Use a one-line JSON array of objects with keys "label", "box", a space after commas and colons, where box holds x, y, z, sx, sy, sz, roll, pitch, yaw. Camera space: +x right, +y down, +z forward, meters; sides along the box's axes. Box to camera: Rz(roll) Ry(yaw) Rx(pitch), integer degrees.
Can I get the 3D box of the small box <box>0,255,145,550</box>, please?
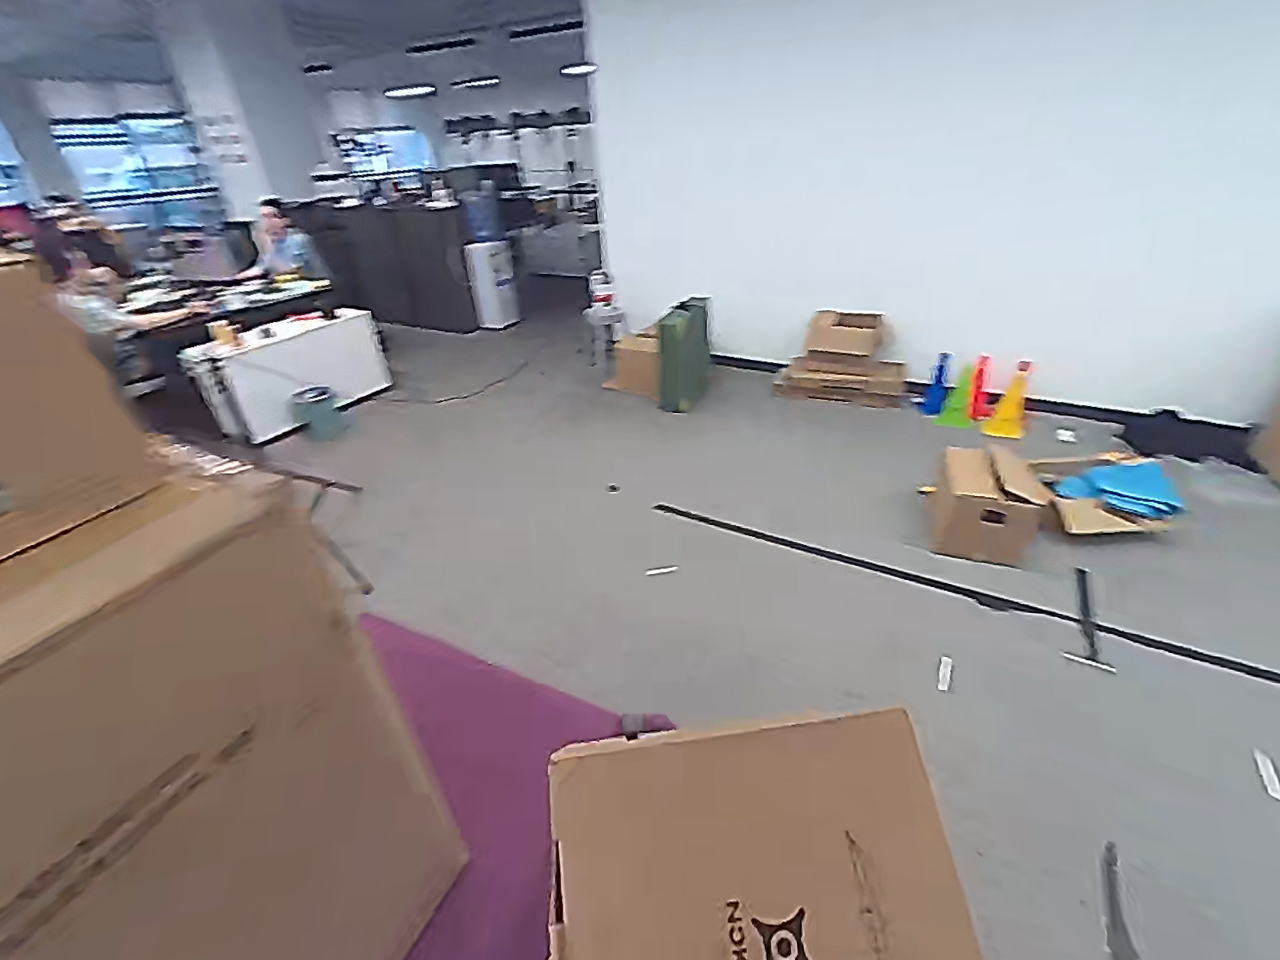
[{"label": "small box", "box": [-0.478, -0.044, 0.347, 0.168, 0.176, 0.179, 14, 36, 24]}]
